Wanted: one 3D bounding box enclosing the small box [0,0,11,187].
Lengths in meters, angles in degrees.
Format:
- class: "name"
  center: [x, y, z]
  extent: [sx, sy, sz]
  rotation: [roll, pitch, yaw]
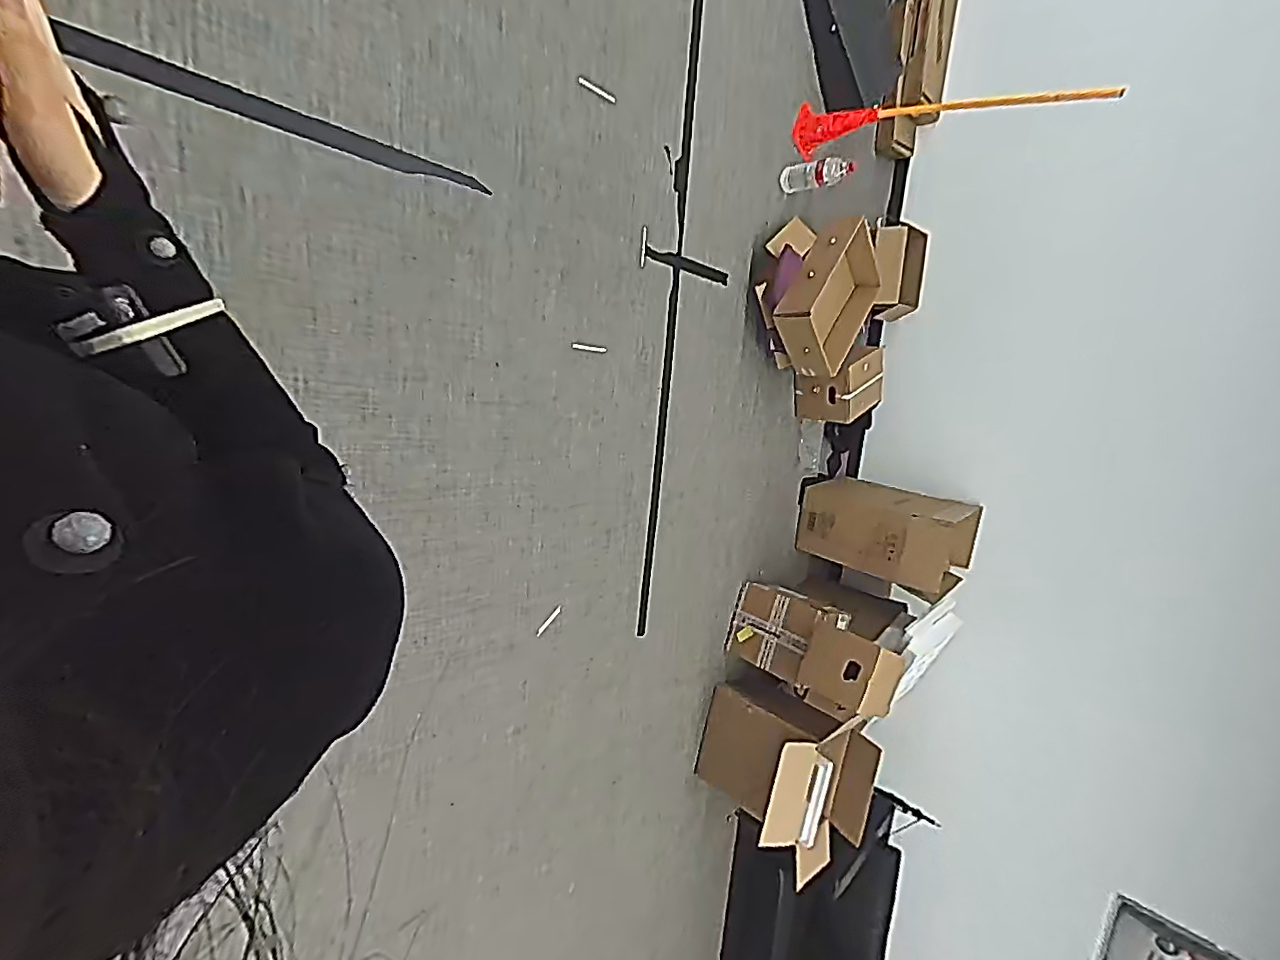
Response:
- class: "small box"
  center: [-0.370, -0.235, 0.203]
  extent: [0.168, 0.176, 0.179]
  rotation: [-4, 100, -50]
